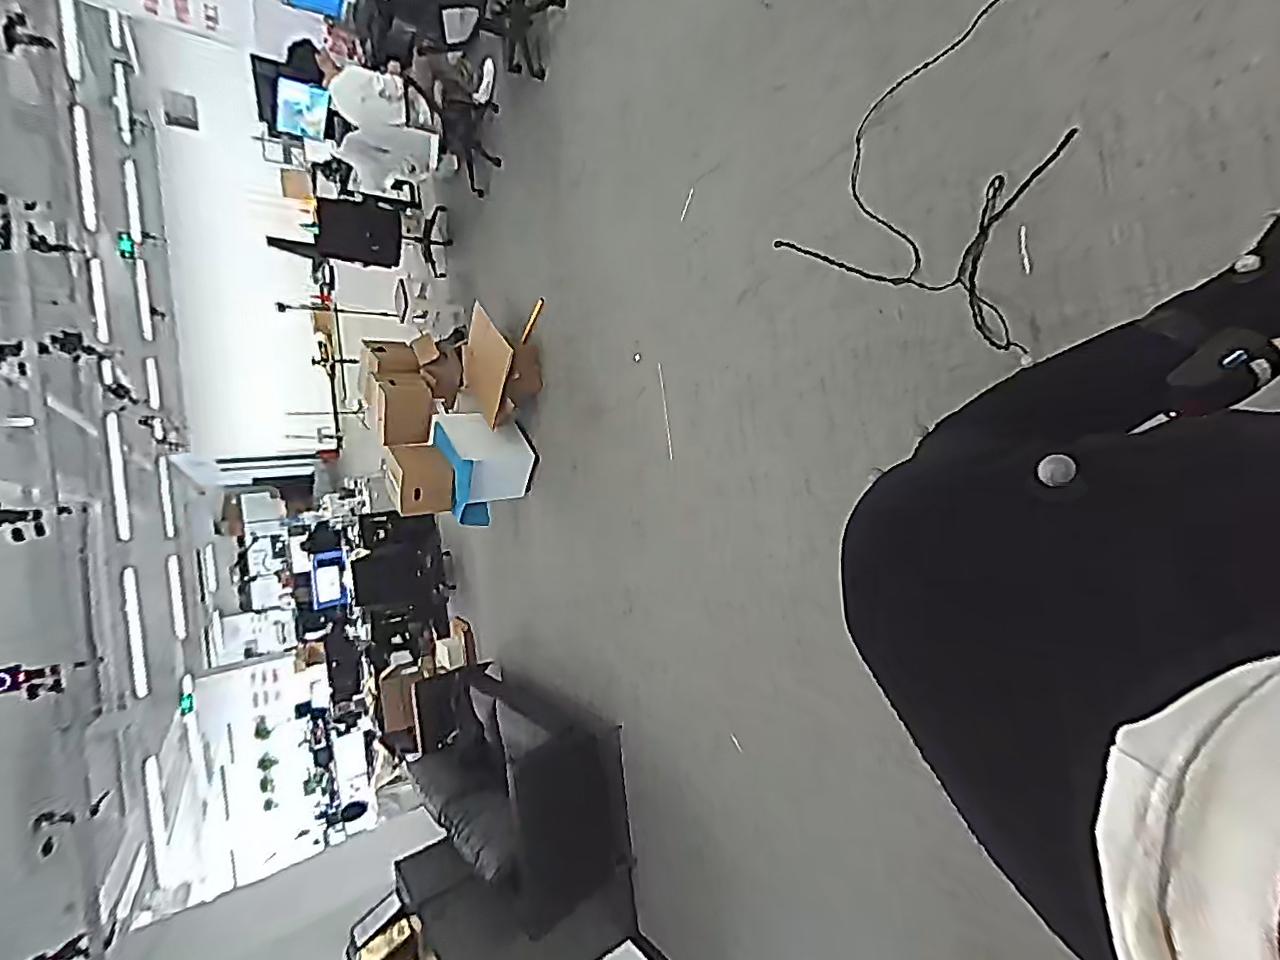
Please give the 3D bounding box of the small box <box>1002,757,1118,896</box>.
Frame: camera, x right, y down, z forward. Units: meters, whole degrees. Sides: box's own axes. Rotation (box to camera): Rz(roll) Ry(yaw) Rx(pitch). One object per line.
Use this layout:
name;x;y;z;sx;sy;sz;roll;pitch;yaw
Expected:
small box;0.932;0.752;1.201;0.168;0.176;0.179;-2;94;54

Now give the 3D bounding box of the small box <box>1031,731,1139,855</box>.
small box;1.067;0.734;1.296;0.168;0.176;0.179;-3;93;54
